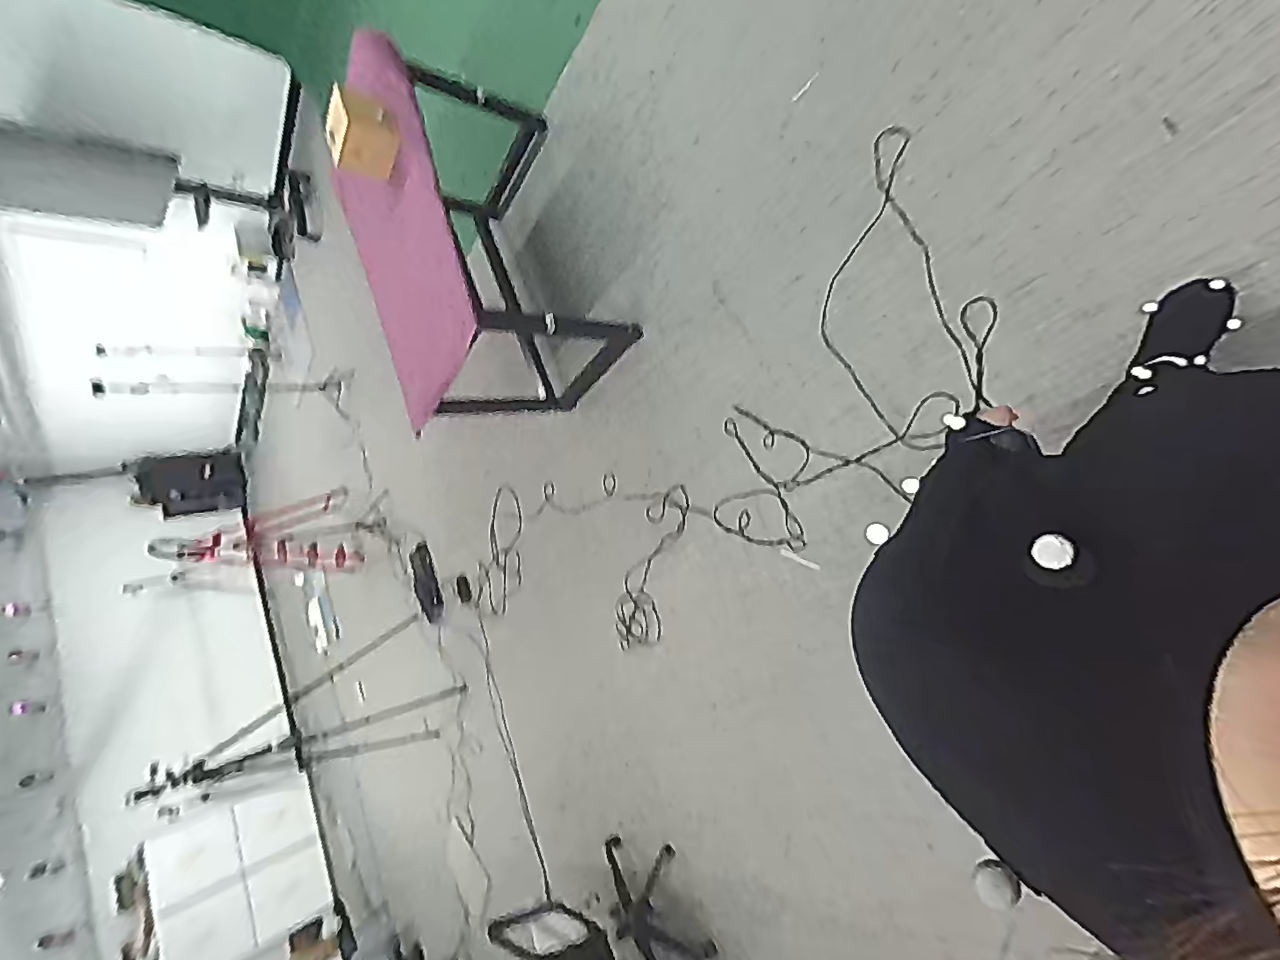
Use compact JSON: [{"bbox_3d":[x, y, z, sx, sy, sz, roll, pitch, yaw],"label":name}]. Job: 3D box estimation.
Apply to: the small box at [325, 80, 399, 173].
[{"bbox_3d":[-0.926,-1.168,1.804,0.179,0.176,0.168,-35,72,43],"label":"small box"}]
